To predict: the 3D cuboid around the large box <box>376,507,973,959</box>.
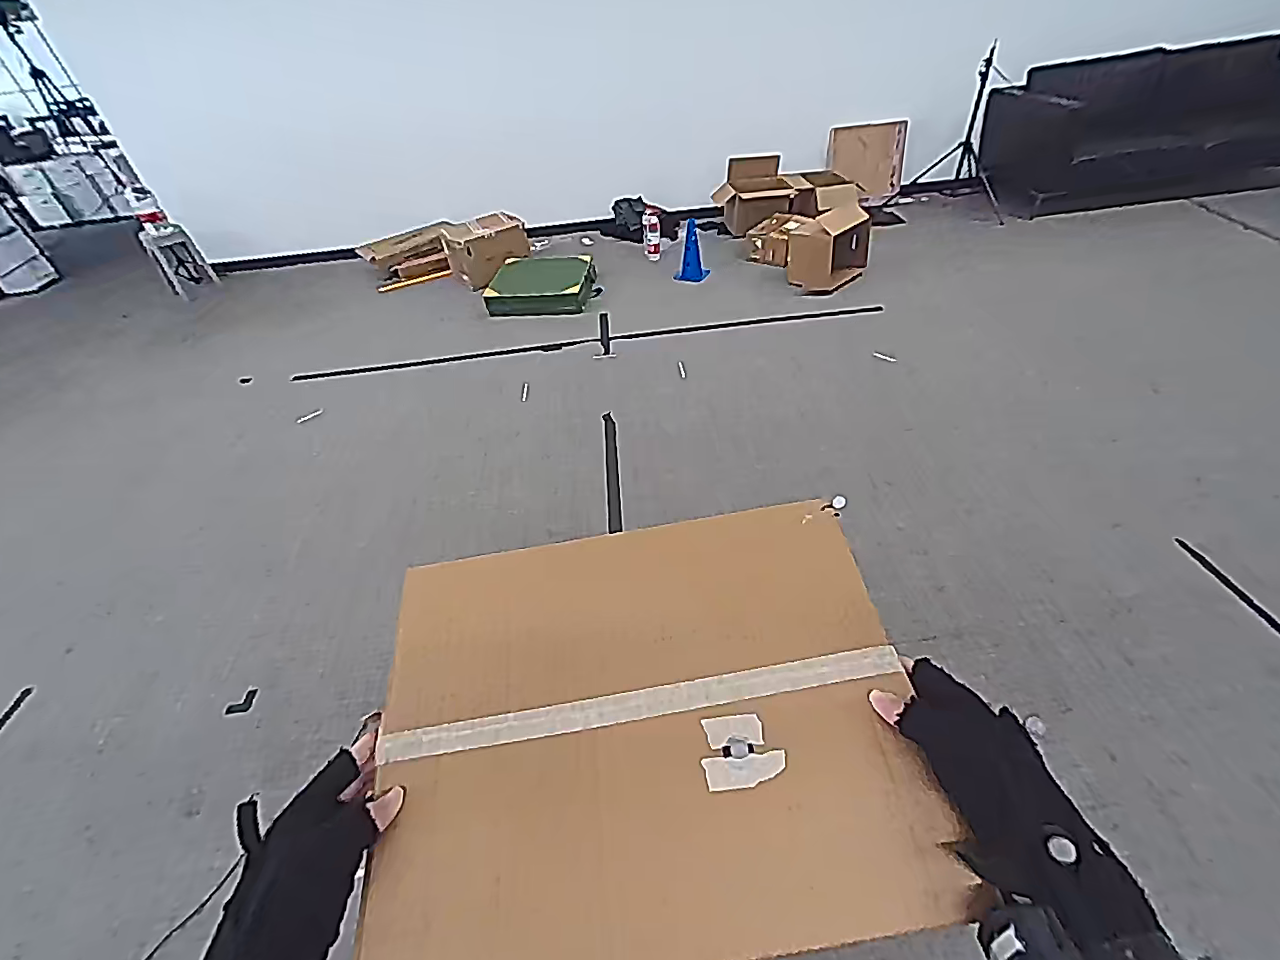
[{"bbox_3d":[0.015,0.269,0.554,0.408,0.320,0.320,-10,53,0],"label":"large box"}]
